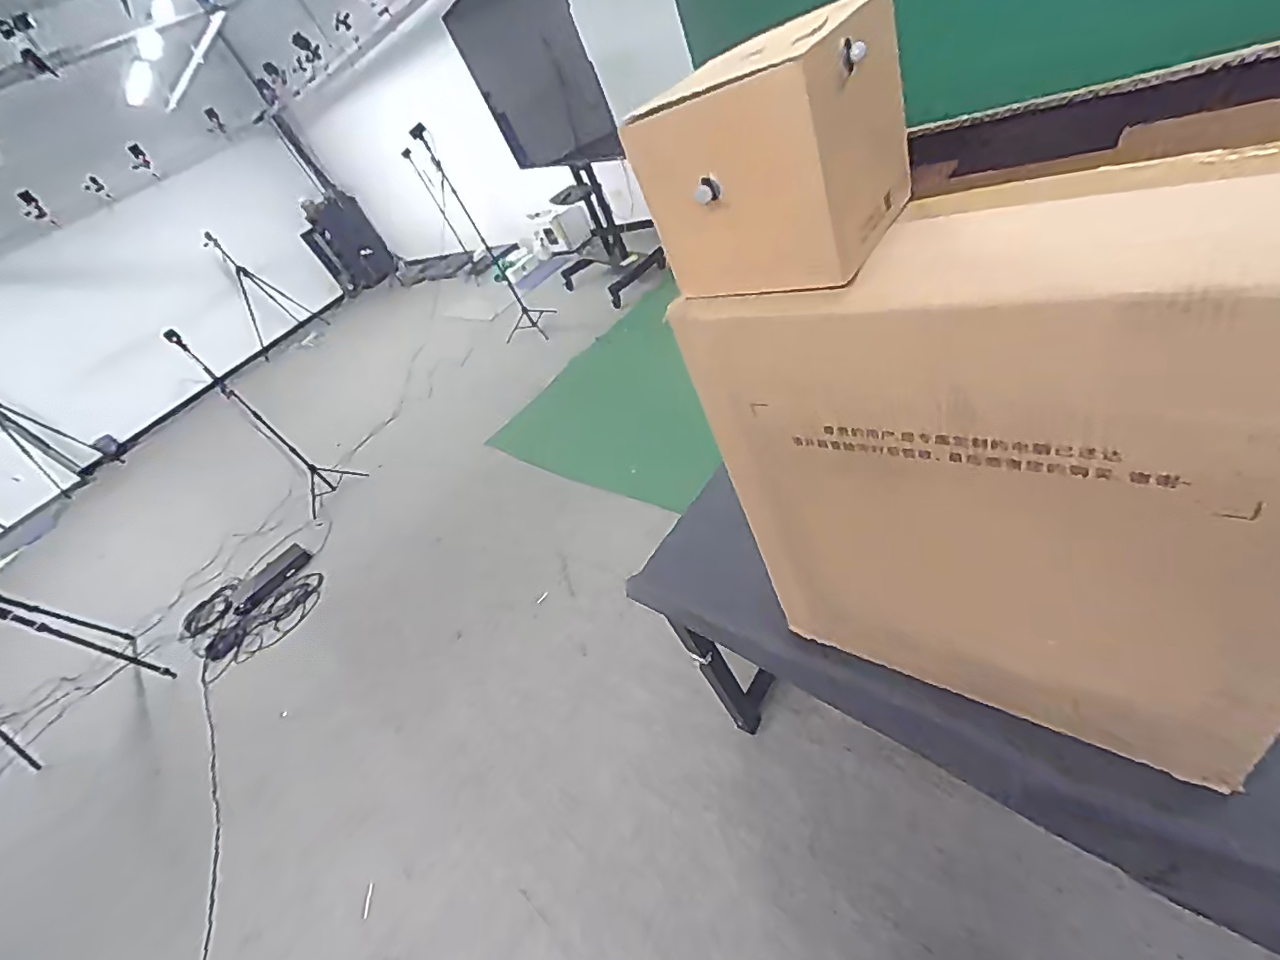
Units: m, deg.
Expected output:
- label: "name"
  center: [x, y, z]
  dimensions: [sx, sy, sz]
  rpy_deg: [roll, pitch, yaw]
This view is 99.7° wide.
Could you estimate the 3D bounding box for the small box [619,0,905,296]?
- label: "small box"
  center: [0.119, -0.287, 0.498]
  dimensions: [0.179, 0.176, 0.168]
  rpy_deg: [11, 54, 43]
